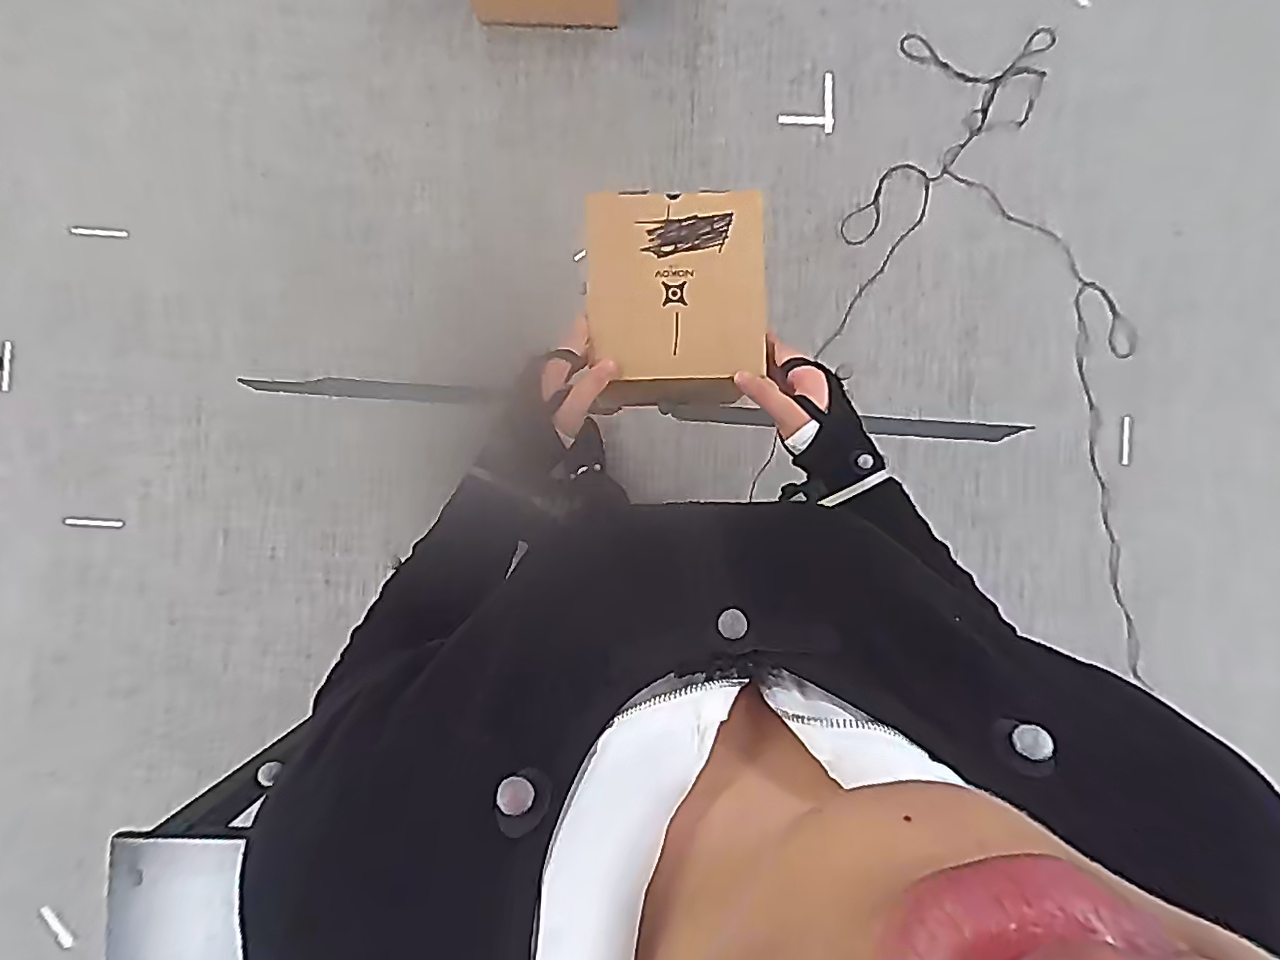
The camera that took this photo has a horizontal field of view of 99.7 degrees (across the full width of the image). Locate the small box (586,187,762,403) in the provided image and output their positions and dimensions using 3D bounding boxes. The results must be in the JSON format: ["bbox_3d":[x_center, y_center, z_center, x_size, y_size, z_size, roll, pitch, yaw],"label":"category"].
[{"bbox_3d":[0.029,-0.183,0.580,0.168,0.176,0.179,-1,90,0],"label":"small box"}]
